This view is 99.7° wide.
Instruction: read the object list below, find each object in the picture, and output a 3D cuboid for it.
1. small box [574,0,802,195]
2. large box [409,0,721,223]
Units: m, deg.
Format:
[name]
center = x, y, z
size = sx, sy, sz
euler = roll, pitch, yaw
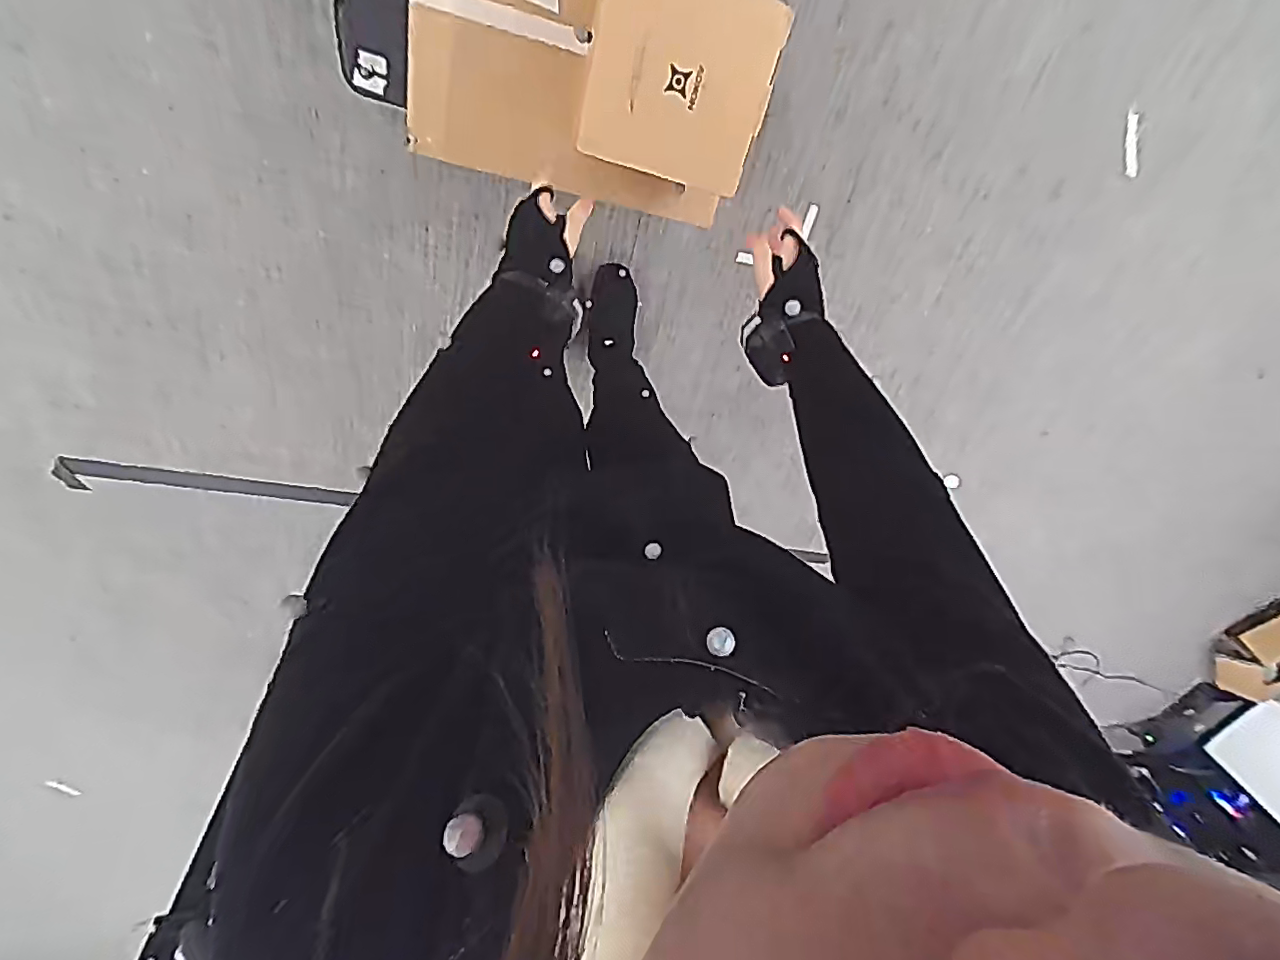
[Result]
[small box]
center = 0.034, -0.428, 0.574
size = 0.179, 0.176, 0.168
euler = 10, 123, -15
[large box]
center = -0.073, -0.587, 0.747
size = 0.408, 0.320, 0.320
euler = 8, 122, -14
